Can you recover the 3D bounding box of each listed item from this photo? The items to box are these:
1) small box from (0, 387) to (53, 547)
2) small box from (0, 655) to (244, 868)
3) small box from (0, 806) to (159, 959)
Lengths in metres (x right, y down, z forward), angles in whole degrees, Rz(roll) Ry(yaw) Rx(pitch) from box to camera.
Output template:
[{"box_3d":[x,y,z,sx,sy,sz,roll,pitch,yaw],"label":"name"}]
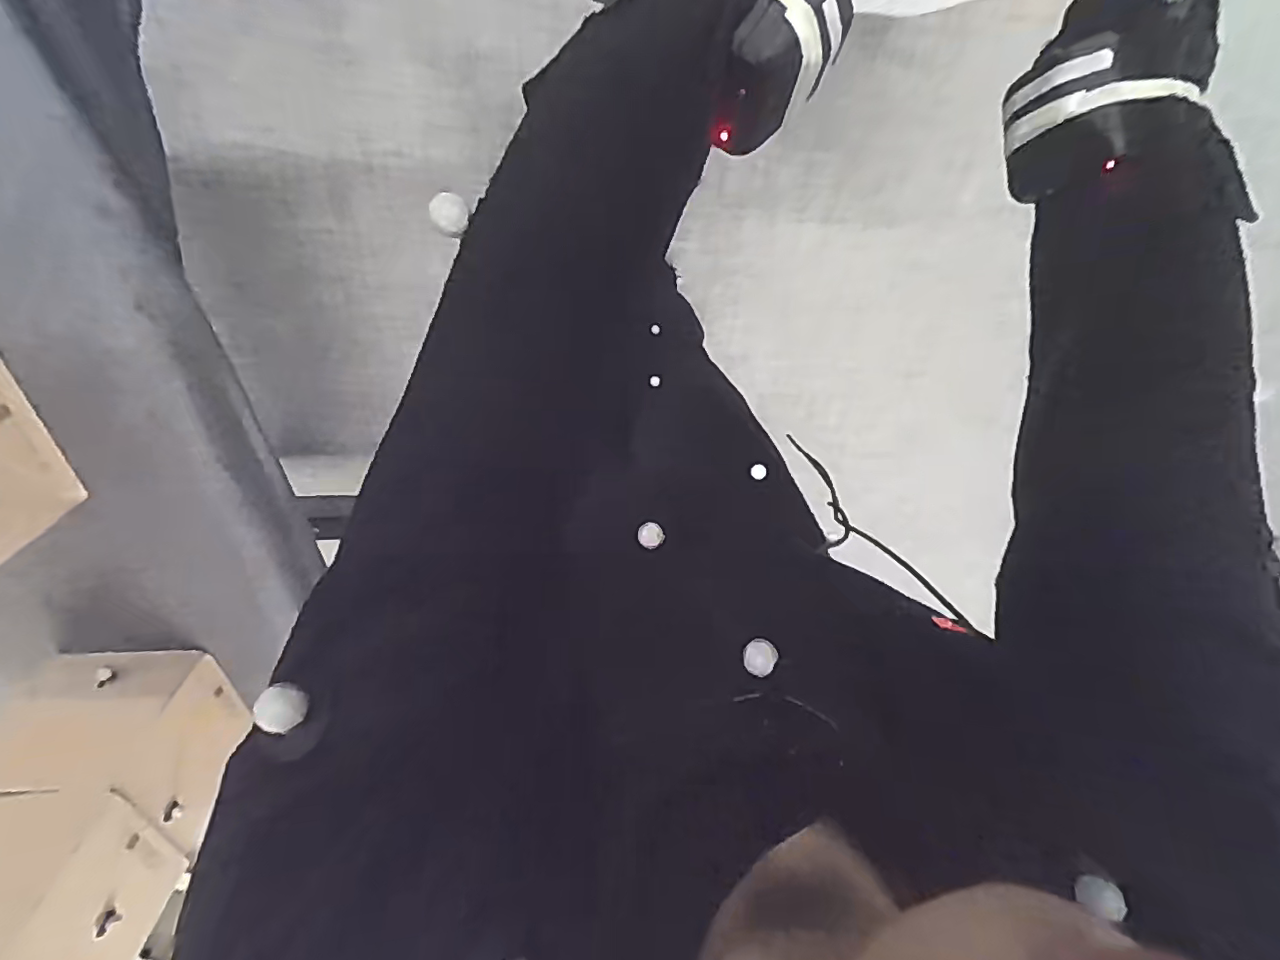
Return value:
[{"box_3d":[-0.607,-0.008,0.394,0.179,0.176,0.168,1,125,-5],"label":"small box"},{"box_3d":[-0.614,0.319,0.621,0.179,0.176,0.168,-1,125,-4],"label":"small box"},{"box_3d":[-0.596,0.418,0.490,0.179,0.176,0.168,0,124,-4],"label":"small box"}]
